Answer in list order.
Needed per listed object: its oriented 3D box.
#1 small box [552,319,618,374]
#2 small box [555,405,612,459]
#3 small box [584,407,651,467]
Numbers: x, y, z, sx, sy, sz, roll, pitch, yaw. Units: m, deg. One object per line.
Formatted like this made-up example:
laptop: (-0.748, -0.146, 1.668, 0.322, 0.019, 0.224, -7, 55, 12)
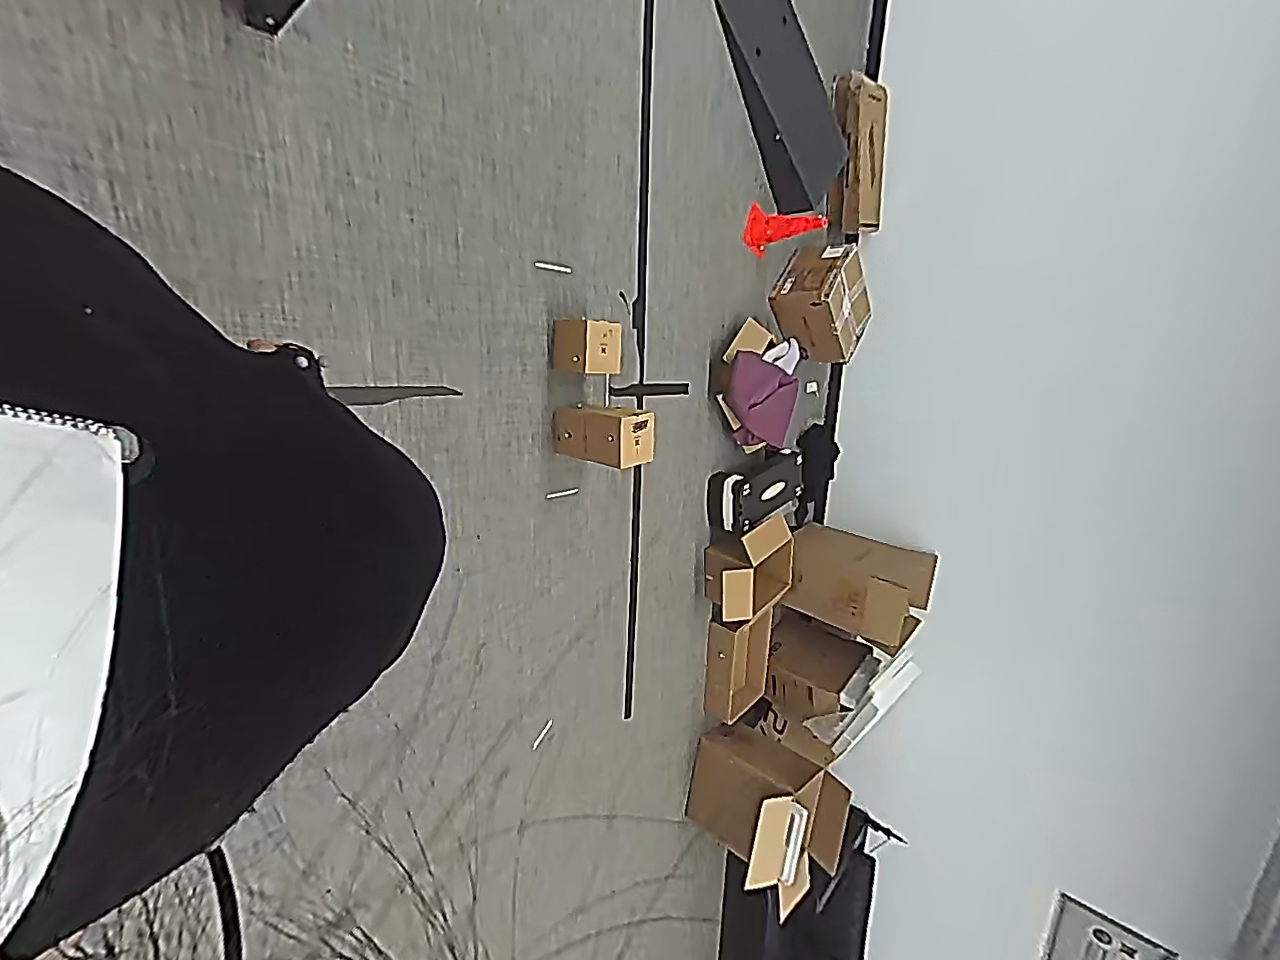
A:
small box: (-0.195, -0.467, 1.891, 0.168, 0.176, 0.179, -11, 109, -47)
small box: (-0.199, -0.180, 1.974, 0.179, 0.176, 0.168, -16, 113, -45)
small box: (-0.079, -0.155, 1.863, 0.168, 0.176, 0.179, -16, 114, -46)
